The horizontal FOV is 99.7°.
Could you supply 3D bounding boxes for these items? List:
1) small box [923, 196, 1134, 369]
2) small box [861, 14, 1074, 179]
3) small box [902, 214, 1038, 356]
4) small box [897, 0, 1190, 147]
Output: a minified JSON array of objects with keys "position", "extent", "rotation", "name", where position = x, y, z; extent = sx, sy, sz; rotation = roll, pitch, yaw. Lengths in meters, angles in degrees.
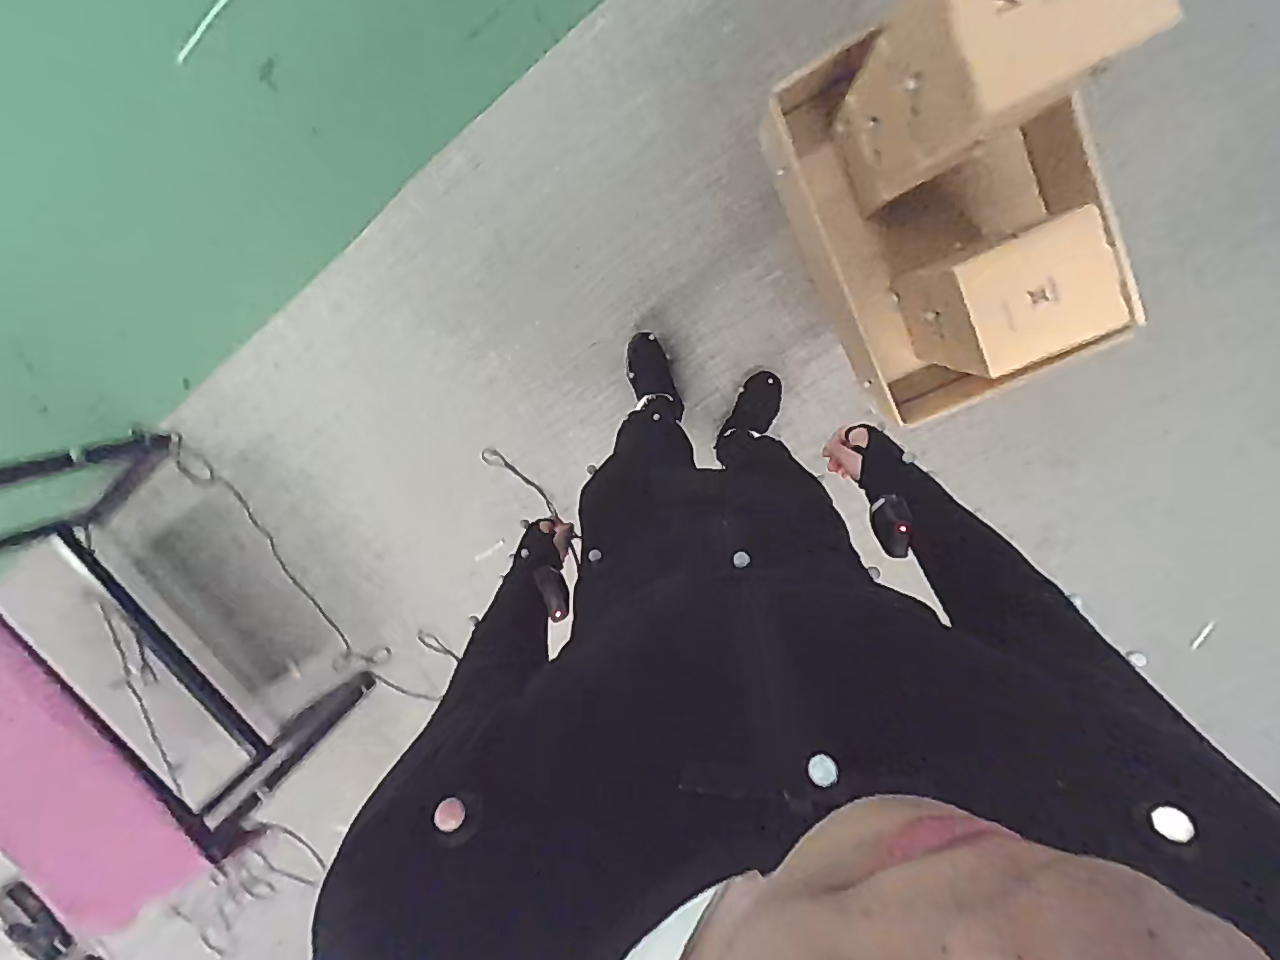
[{"position":[0.548,-0.279,0.786],"extent":[0.179,0.176,0.168],"rotation":[-22,102,16],"name":"small box"},{"position":[0.424,-0.540,0.728],"extent":[0.179,0.176,0.168],"rotation":[-22,103,15],"name":"small box"},{"position":[0.577,-0.329,0.938],"extent":[0.179,0.176,0.168],"rotation":[-22,102,15],"name":"small box"},{"position":[0.403,-0.493,0.570],"extent":[0.179,0.176,0.168],"rotation":[-21,102,15],"name":"small box"}]
